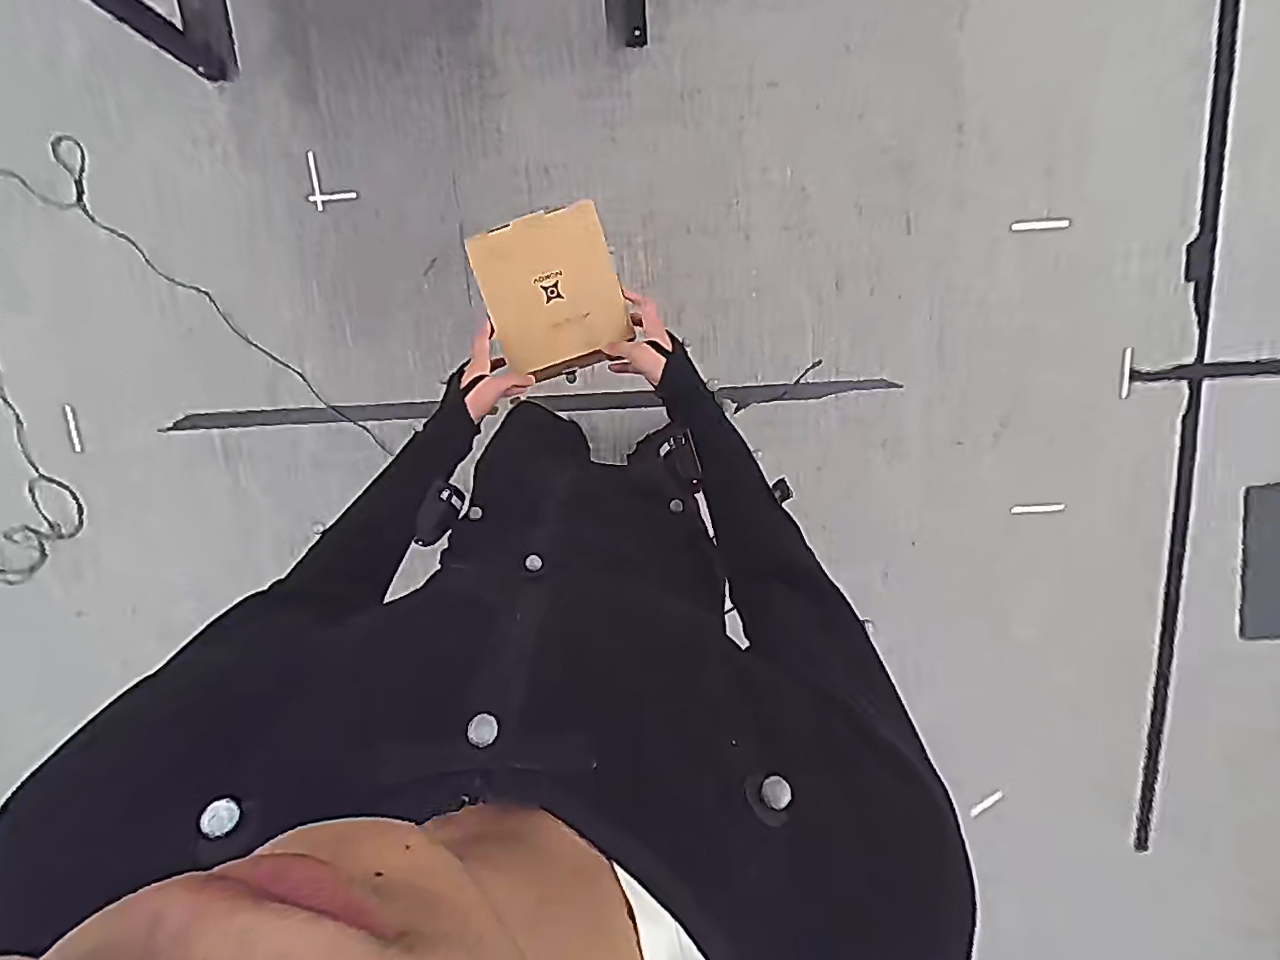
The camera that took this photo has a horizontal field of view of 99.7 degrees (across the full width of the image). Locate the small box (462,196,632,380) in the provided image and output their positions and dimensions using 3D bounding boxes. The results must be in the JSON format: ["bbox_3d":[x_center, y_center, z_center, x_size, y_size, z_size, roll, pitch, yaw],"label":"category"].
[{"bbox_3d":[-0.117,-0.246,0.738,0.168,0.176,0.179,-19,98,0],"label":"small box"}]
